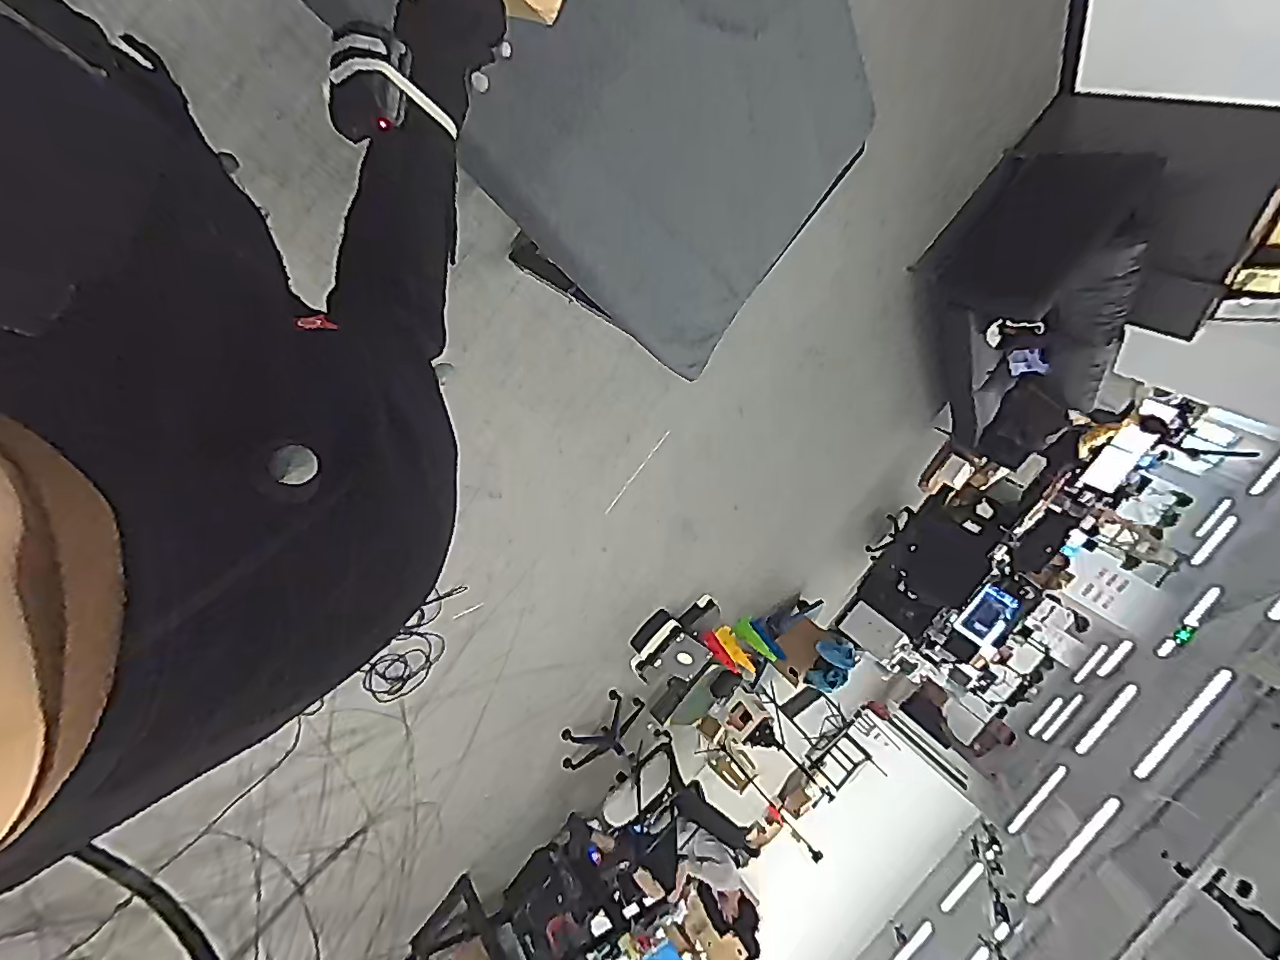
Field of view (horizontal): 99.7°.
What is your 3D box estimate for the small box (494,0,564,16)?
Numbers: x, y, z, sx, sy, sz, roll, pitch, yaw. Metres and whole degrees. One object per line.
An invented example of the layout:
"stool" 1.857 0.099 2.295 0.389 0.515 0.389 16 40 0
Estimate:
"small box" -0.127 -0.529 0.429 0.168 0.176 0.179 10 120 -48
